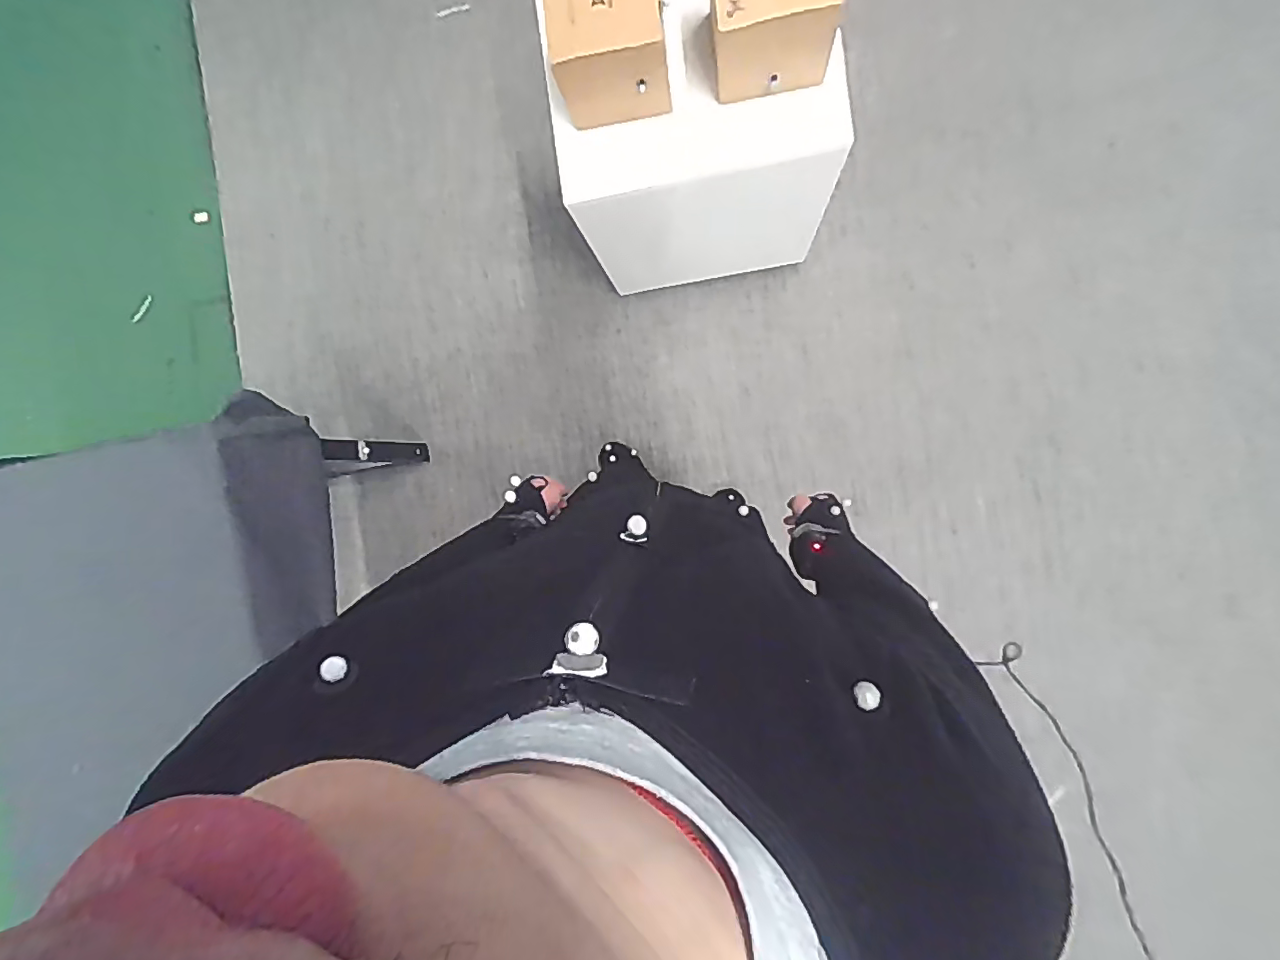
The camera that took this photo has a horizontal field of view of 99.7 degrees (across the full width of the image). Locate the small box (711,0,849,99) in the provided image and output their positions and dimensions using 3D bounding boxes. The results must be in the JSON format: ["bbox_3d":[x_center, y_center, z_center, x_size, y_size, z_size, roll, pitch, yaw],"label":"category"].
[{"bbox_3d":[0.203,-0.729,0.826,0.179,0.176,0.168,-6,92,8],"label":"small box"}]

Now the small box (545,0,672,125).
[{"bbox_3d":[-0.043,-0.709,0.862,0.179,0.176,0.168,-6,91,8],"label":"small box"}]
